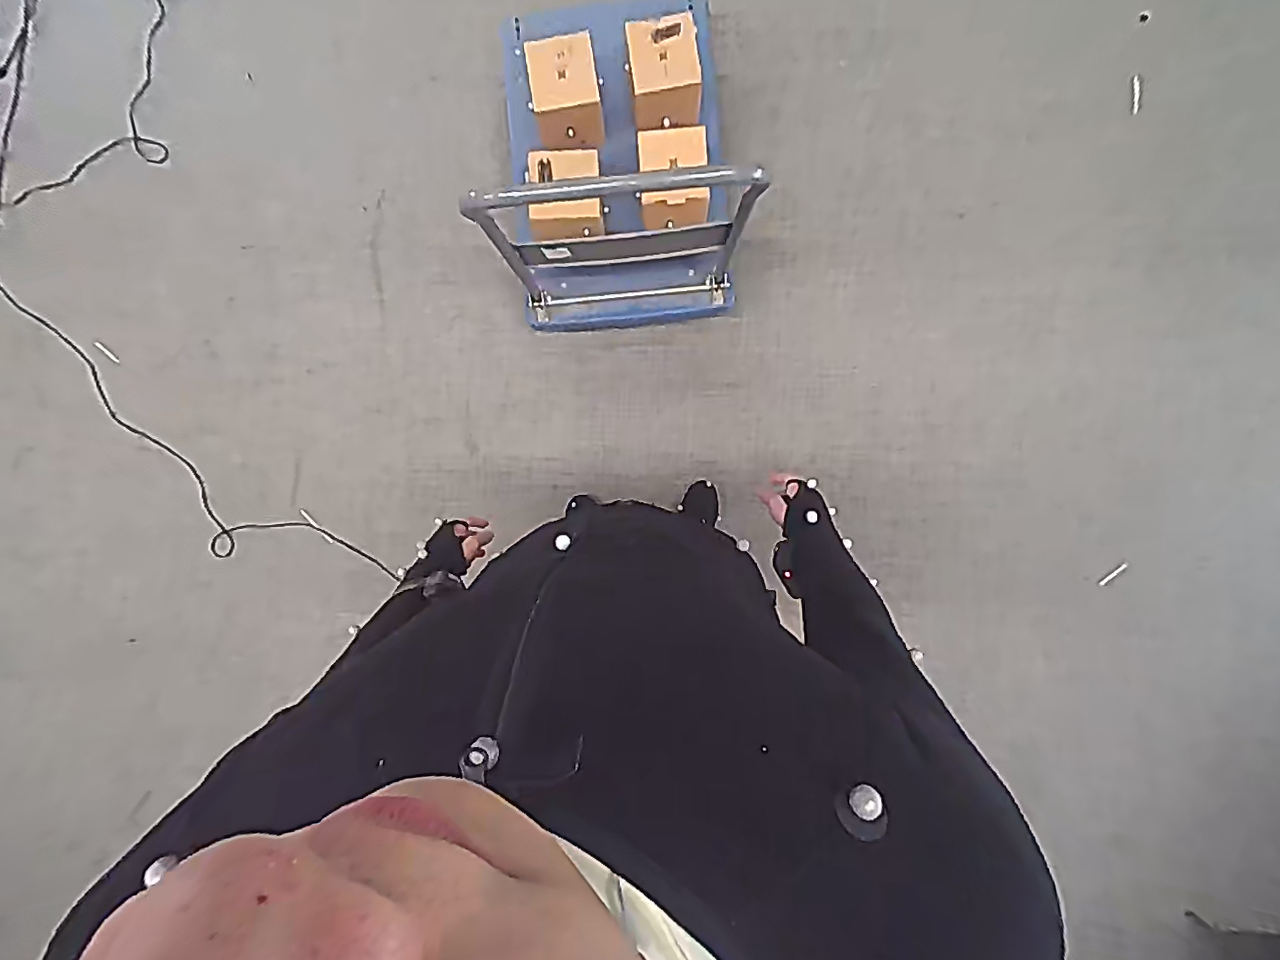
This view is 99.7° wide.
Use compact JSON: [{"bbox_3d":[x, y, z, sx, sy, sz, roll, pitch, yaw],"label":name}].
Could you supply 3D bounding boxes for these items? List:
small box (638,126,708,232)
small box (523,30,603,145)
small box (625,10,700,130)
[{"bbox_3d":[0.081,-0.764,1.383,0.168,0.176,0.179,-4,91,2],"label":"small box"},{"bbox_3d":[-0.191,-0.994,1.390,0.168,0.176,0.179,-8,90,1],"label":"small box"},{"bbox_3d":[0.057,-1.034,1.380,0.168,0.176,0.179,-8,91,3],"label":"small box"}]
